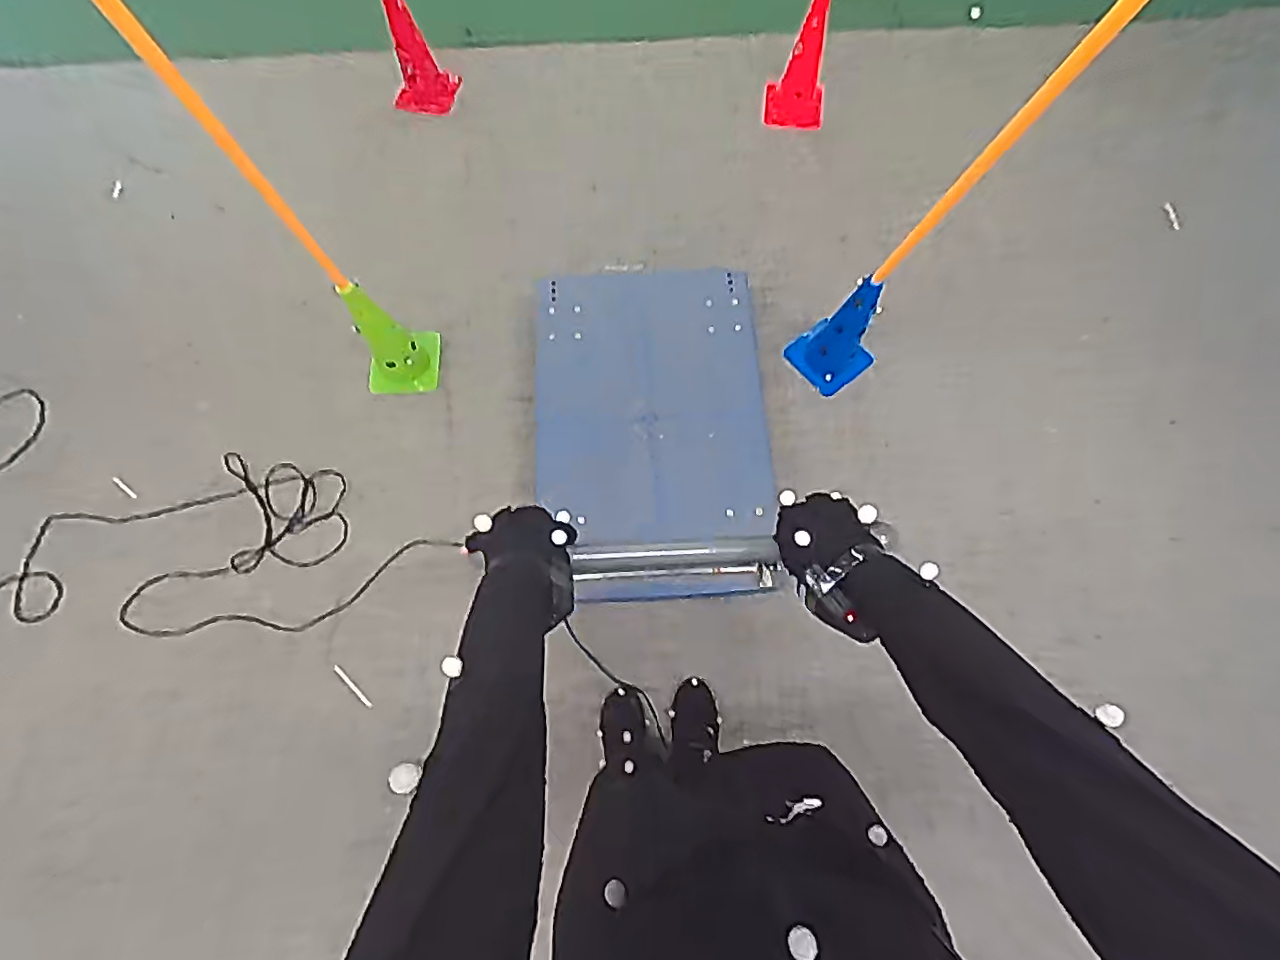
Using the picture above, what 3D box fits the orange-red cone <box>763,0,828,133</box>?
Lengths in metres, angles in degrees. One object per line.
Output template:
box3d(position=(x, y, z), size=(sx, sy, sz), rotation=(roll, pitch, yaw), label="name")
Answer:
box3d(position=(0.532, -1.343, 1.727), size=(0.198, 0.360, 0.199), rotation=(9, 73, 4), label="orange-red cone")
